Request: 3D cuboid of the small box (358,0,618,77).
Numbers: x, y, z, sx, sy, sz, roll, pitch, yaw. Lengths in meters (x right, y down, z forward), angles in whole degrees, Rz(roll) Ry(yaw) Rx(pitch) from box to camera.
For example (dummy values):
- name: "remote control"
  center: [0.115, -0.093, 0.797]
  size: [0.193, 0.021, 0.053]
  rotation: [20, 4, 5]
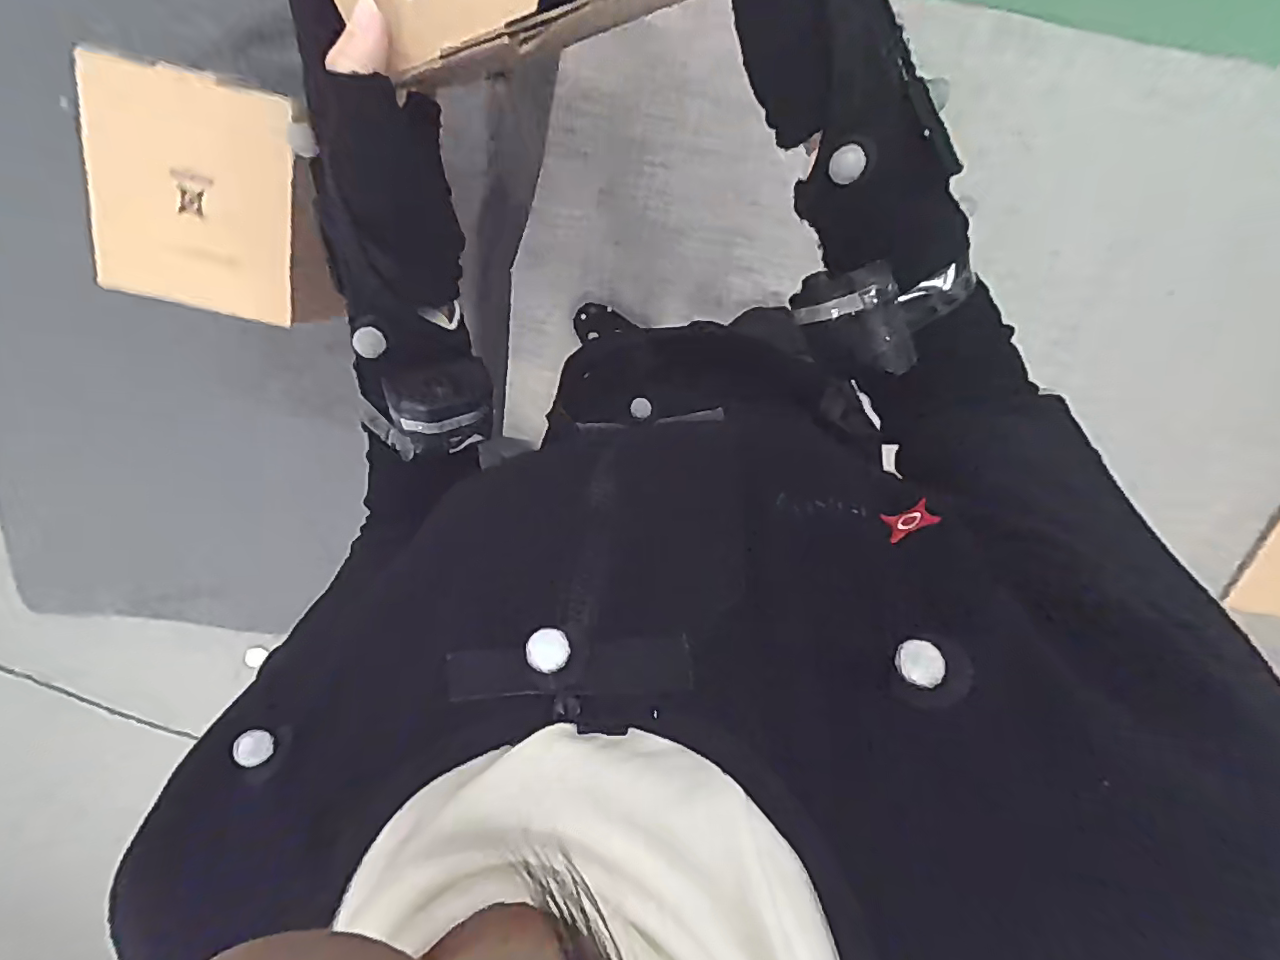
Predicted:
- name: "small box"
  center: [-0.061, -0.312, 0.235]
  size: [0.168, 0.176, 0.179]
  rotation: [-17, 126, 10]

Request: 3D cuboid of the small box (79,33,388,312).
- name: "small box"
  center: [-0.360, -0.273, 0.518]
  size: [0.168, 0.176, 0.179]
  rotation: [12, 112, -2]
